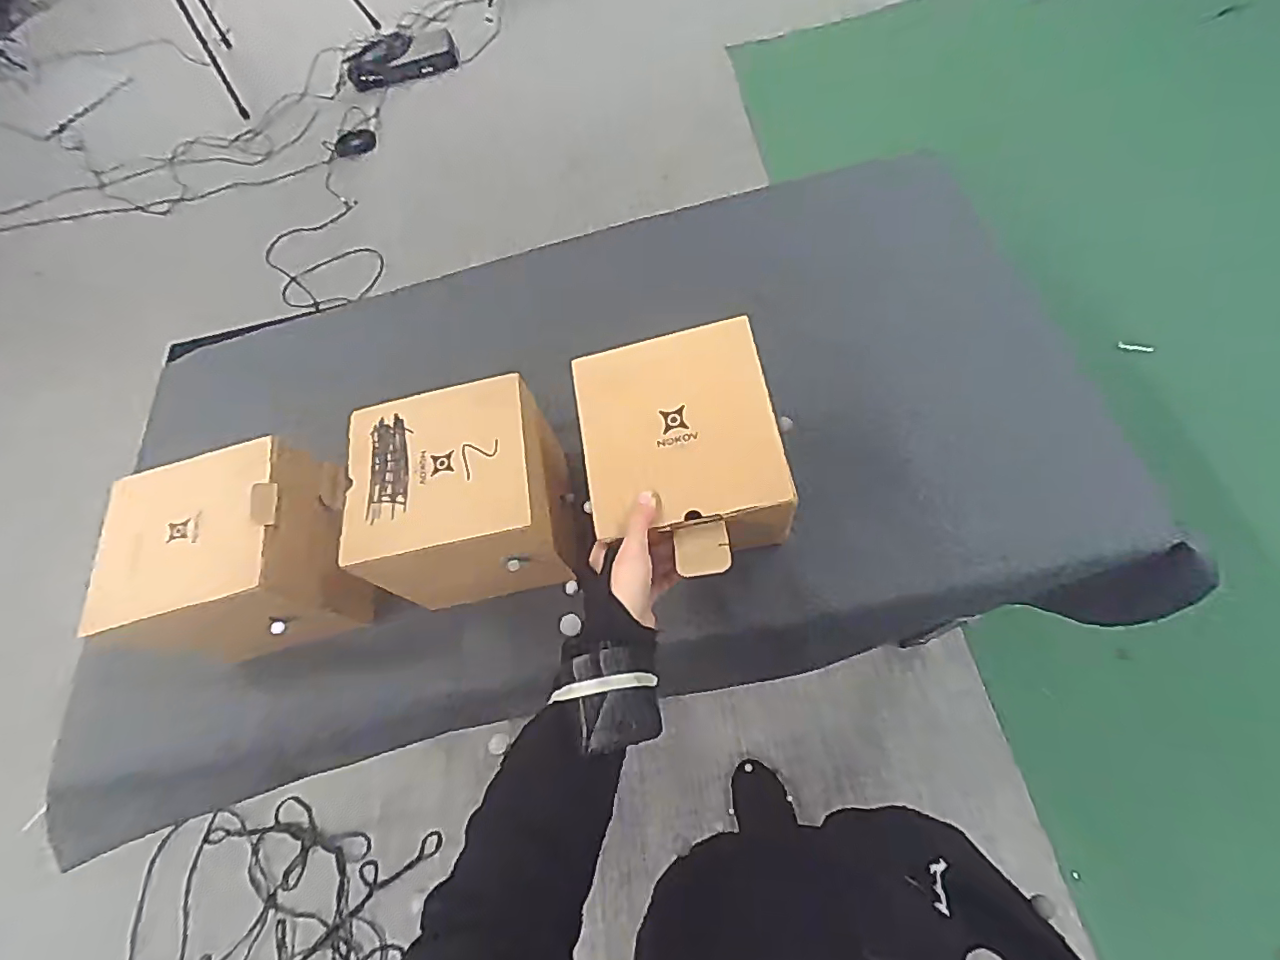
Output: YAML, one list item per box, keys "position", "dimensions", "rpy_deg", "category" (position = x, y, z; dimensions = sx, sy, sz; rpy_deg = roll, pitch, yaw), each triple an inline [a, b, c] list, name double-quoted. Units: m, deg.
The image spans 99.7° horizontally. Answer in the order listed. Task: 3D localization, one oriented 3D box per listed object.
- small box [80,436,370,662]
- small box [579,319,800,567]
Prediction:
- position: [-0.413, 0.083, 0.577]
  dimensions: [0.179, 0.176, 0.168]
  rpy_deg: [-17, 62, 2]
  category: "small box"
- position: [0.048, -0.024, 0.535]
  dimensions: [0.168, 0.176, 0.179]
  rpy_deg: [-13, 71, 7]
  category: "small box"
